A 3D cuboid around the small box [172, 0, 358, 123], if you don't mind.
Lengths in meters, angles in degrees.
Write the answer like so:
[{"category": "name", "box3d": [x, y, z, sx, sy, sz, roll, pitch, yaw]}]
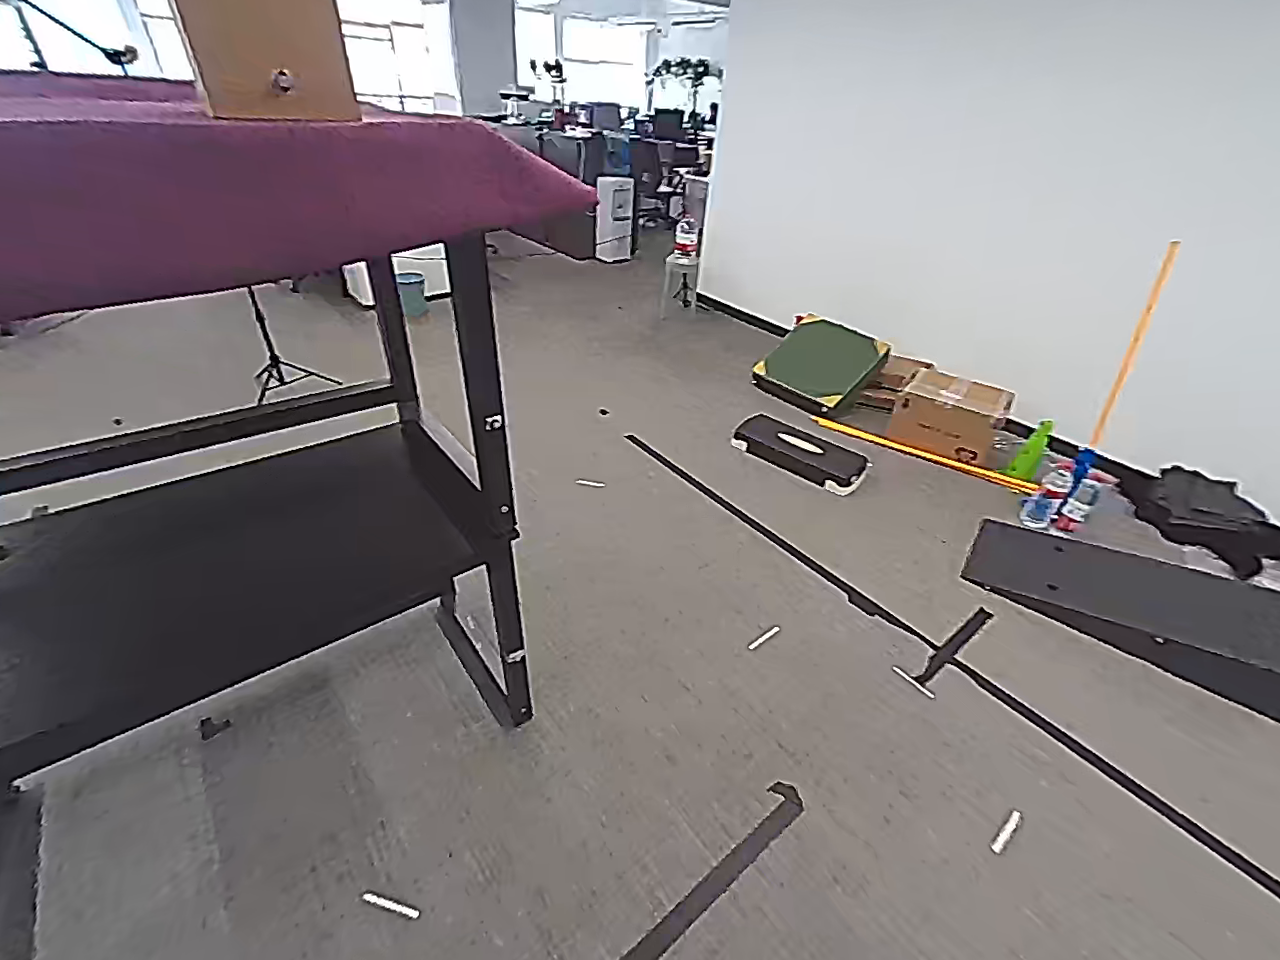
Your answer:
[{"category": "small box", "box3d": [-0.490, -0.577, 0.710, 0.179, 0.176, 0.168, -21, 41, -31]}]
